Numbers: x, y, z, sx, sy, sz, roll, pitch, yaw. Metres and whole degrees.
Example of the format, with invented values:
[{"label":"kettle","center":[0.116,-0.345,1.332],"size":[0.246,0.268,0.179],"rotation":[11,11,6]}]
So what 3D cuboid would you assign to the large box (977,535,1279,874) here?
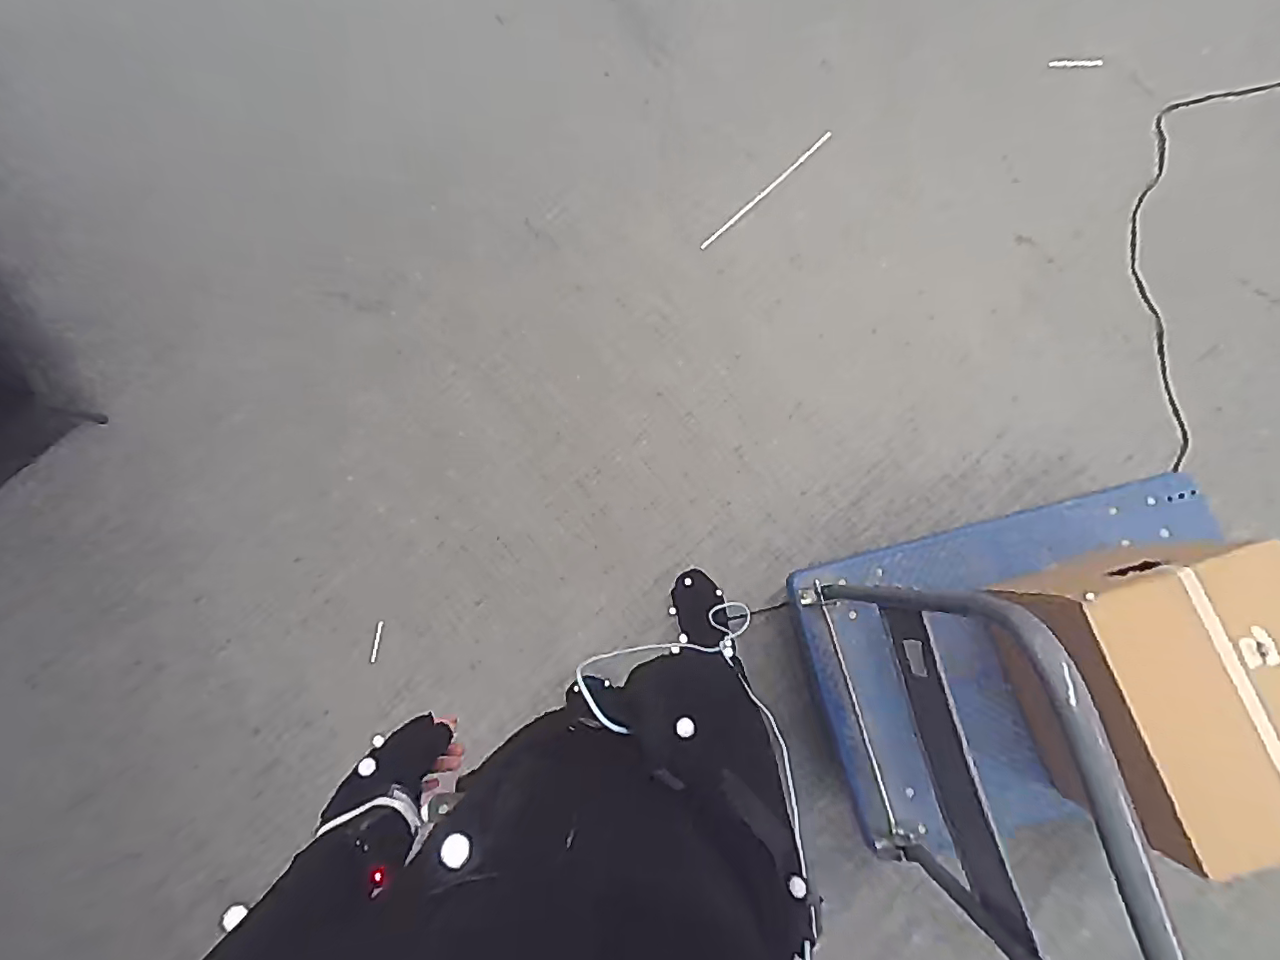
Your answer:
[{"label":"large box","center":[0.879,0.339,0.925],"size":[0.320,0.320,0.408],"rotation":[-19,80,0]}]
